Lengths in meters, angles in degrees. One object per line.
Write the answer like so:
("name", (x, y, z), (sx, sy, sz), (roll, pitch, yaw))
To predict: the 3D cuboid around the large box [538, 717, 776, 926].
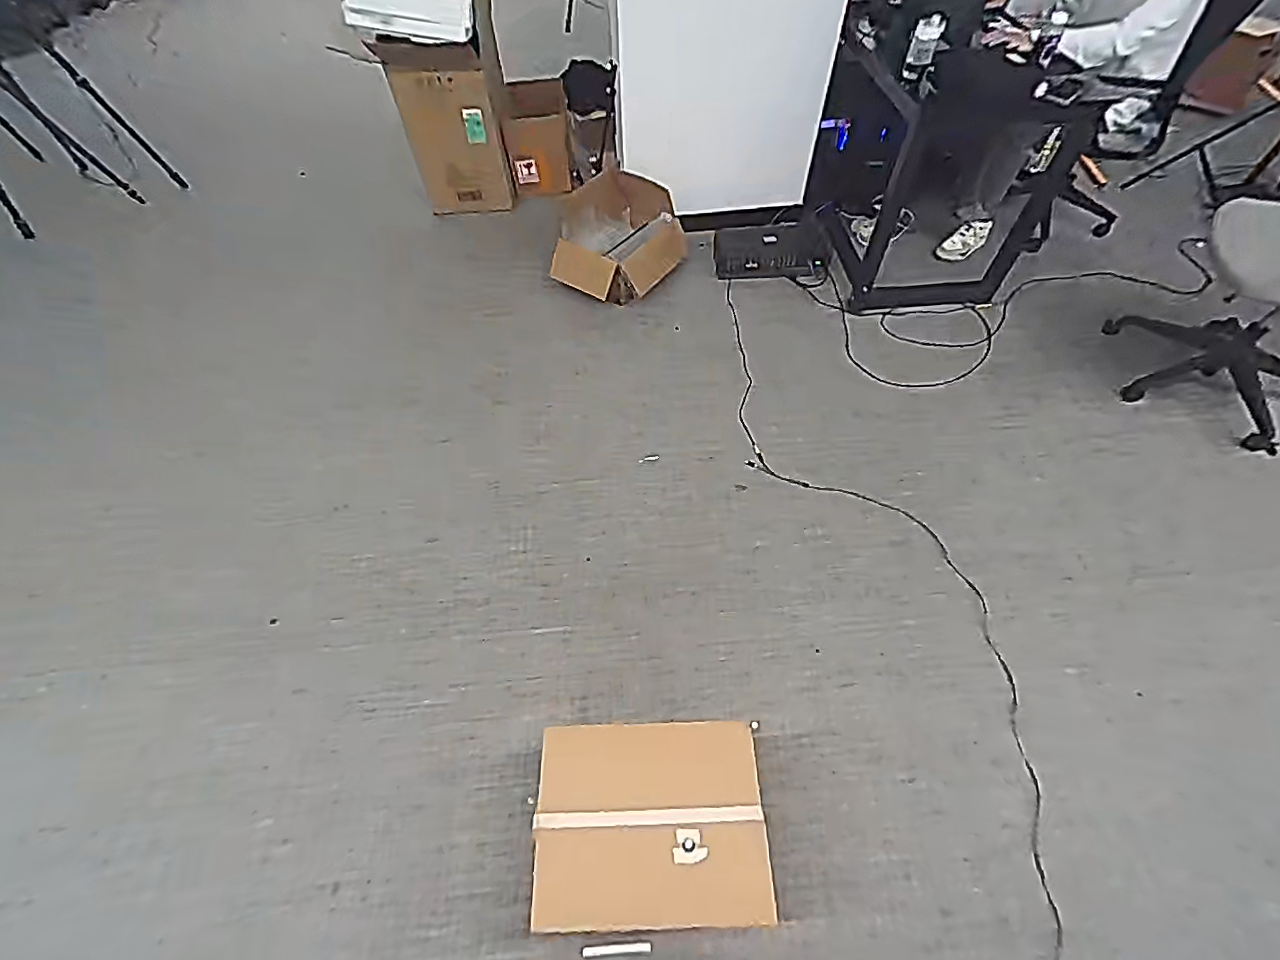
("large box", (0.025, 0.685, 1.096), (0.408, 0.320, 0.320), (-1, 55, 1))
